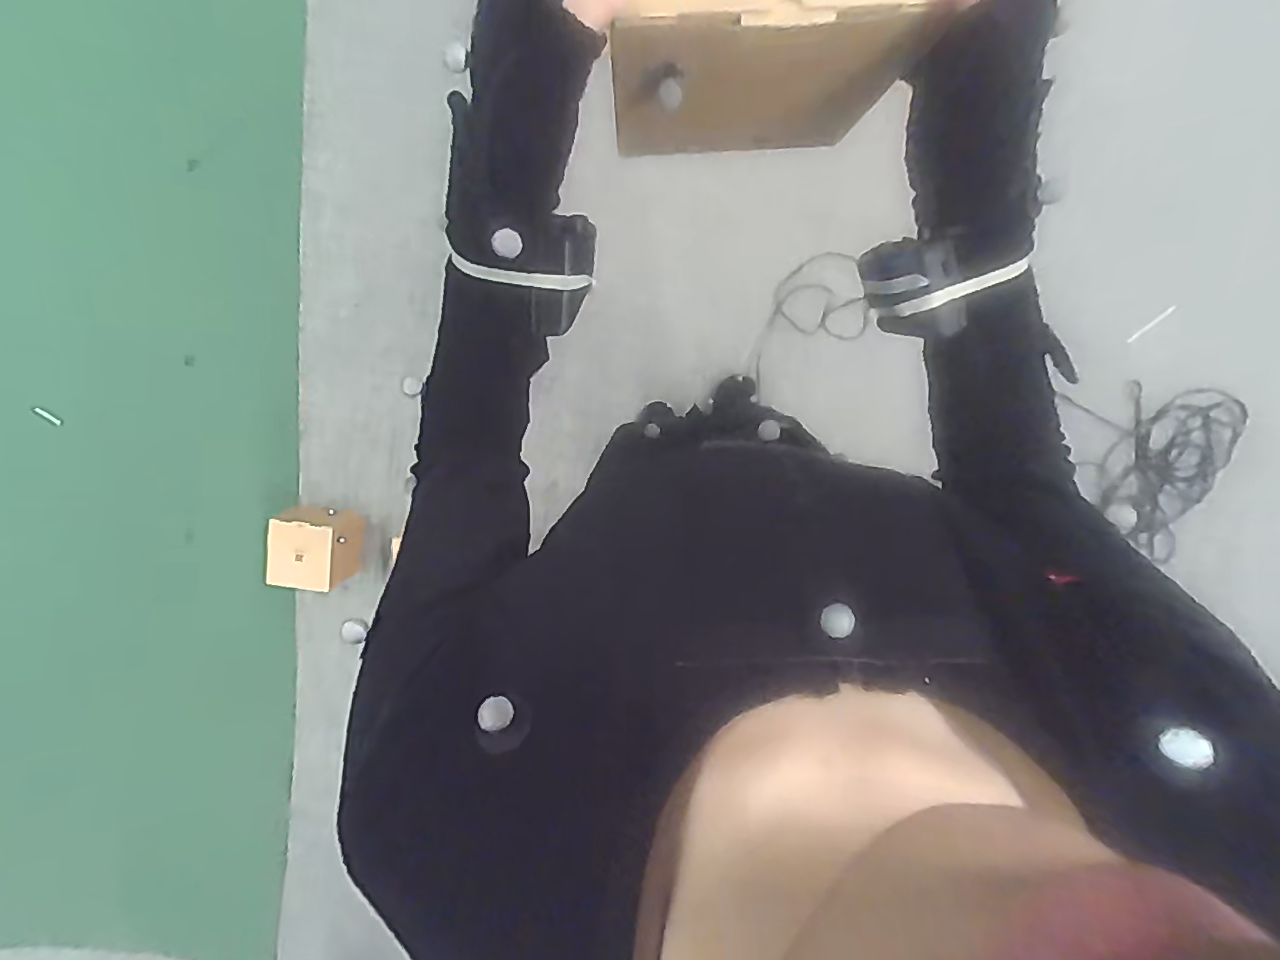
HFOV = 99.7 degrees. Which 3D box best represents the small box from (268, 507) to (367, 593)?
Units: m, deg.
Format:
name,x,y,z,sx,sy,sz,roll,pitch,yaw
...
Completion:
name,x,y,z,sx,sy,sz,roll,pitch,yaw
small box,-0.855,0.182,1.444,0.168,0.176,0.179,8,98,-1
